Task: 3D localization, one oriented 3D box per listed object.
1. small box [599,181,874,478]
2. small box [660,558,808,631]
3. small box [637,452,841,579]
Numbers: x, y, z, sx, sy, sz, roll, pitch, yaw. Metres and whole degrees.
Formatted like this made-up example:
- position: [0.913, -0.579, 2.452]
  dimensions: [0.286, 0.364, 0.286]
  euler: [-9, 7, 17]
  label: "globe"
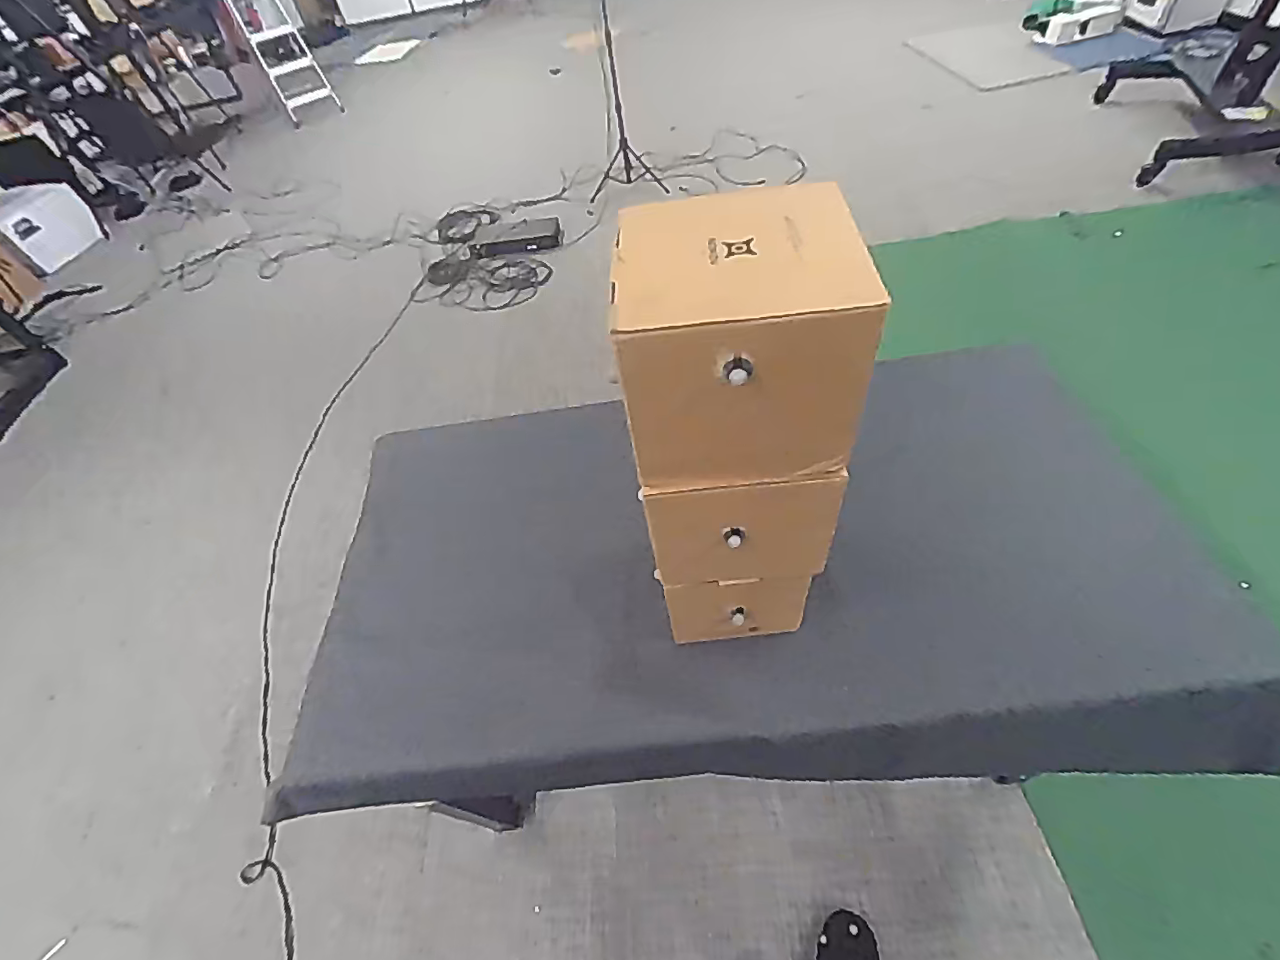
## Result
- position: [0.071, -0.115, 0.450]
  dimensions: [0.179, 0.176, 0.168]
  euler: [-5, 53, 6]
  label: "small box"
- position: [0.112, 0.084, 0.705]
  dimensions: [0.168, 0.176, 0.179]
  euler: [-9, 52, 4]
  label: "small box"
- position: [0.094, -0.010, 0.571]
  dimensions: [0.179, 0.176, 0.168]
  euler: [-7, 51, 7]
  label: "small box"
